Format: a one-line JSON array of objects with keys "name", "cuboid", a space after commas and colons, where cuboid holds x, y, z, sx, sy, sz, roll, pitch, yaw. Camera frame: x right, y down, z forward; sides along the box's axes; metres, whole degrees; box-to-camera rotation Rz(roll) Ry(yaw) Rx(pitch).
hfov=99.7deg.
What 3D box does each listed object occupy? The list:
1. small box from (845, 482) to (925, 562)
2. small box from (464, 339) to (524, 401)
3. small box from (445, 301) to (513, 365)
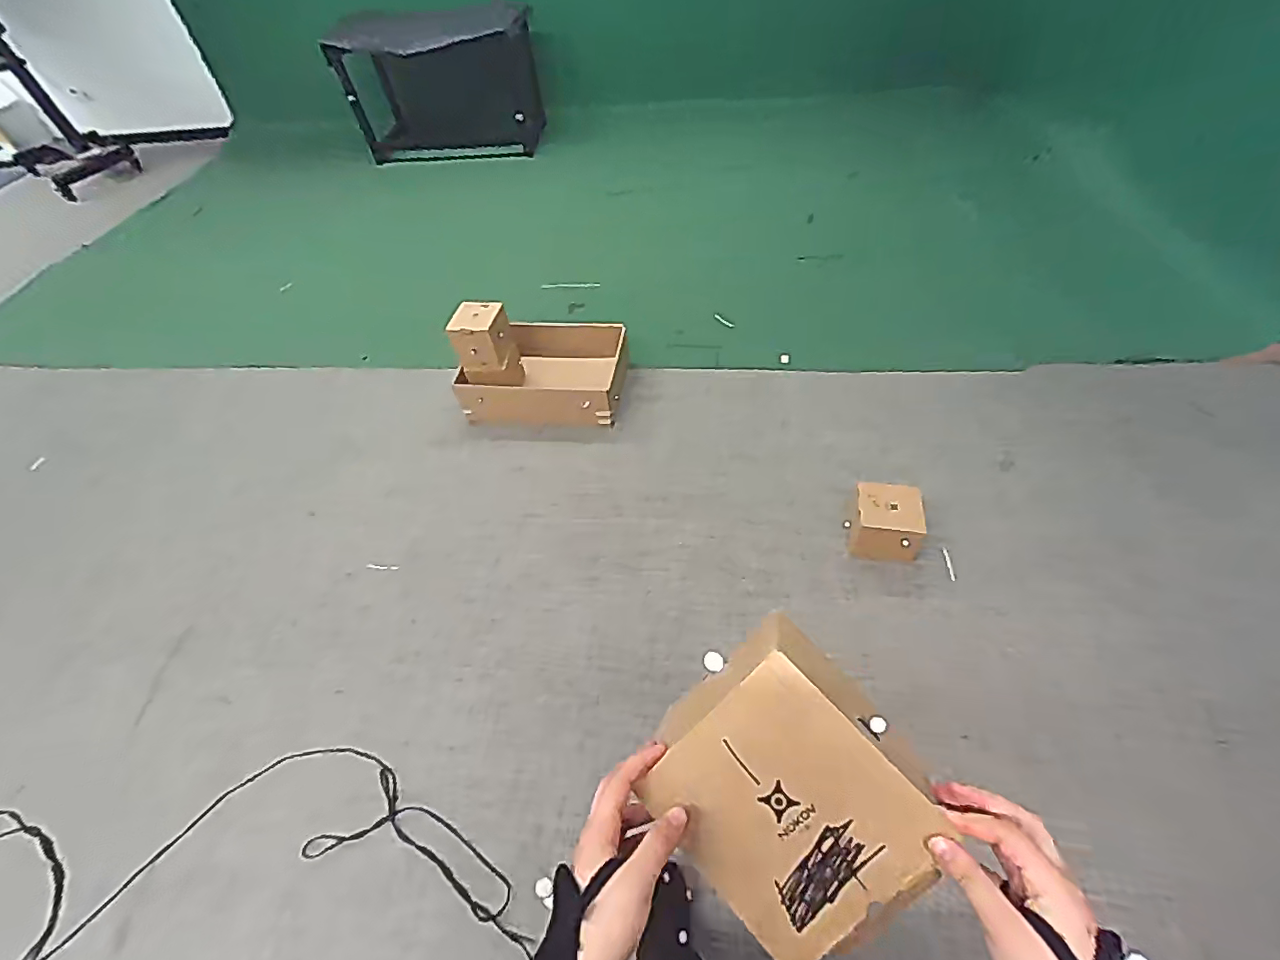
[{"name": "small box", "cuboid": [0.723, 0.128, 1.612, 0.179, 0.176, 0.168, 6, 52, 11]}, {"name": "small box", "cuboid": [-0.568, -0.434, 2.131, 0.168, 0.176, 0.179, 0, 53, 7]}, {"name": "small box", "cuboid": [-0.590, -0.545, 2.012, 0.168, 0.176, 0.179, 4, 53, 10]}]
